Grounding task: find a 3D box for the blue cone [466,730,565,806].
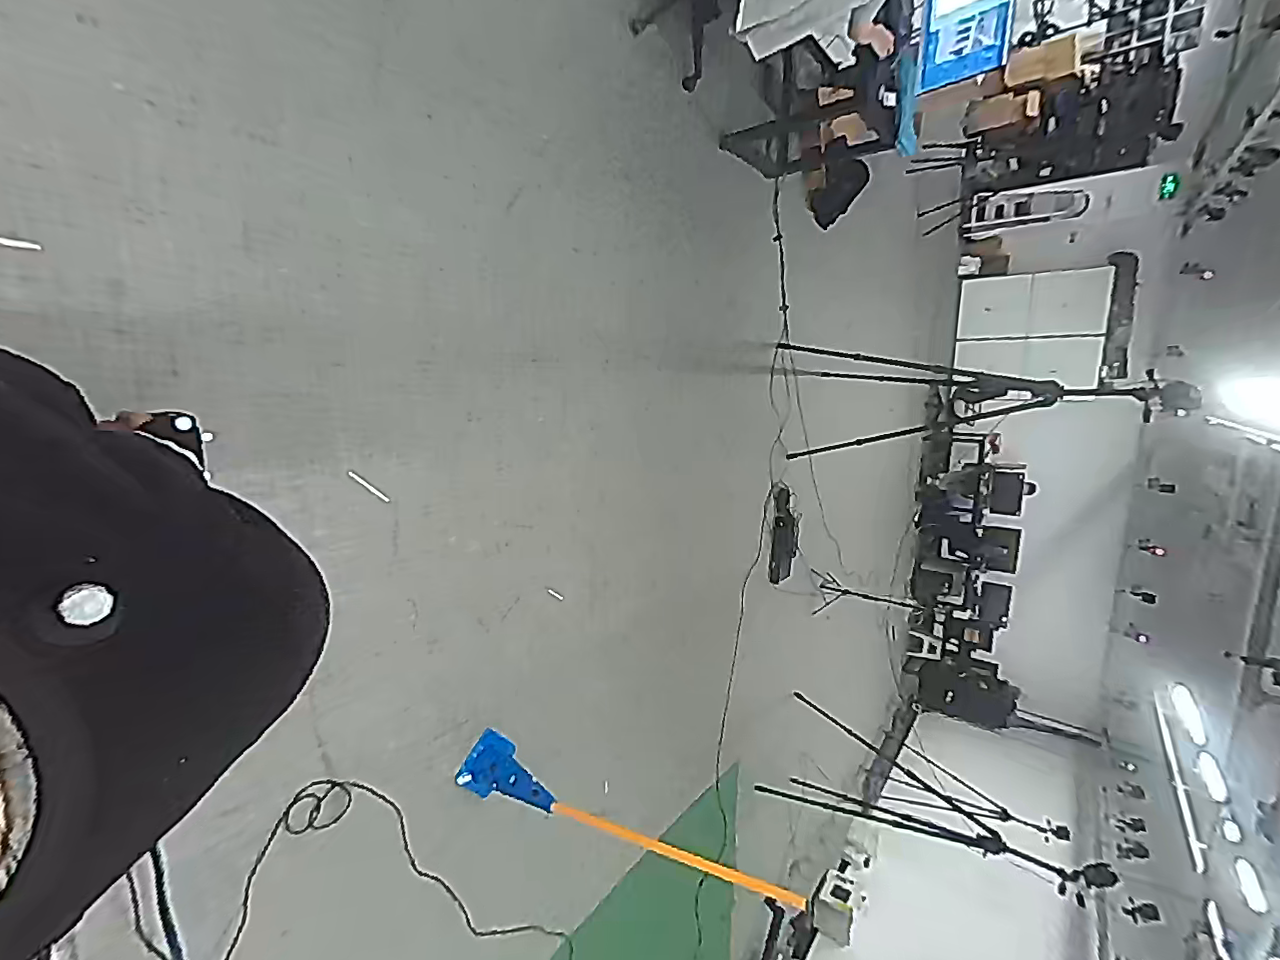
[{"bbox_3d":[-0.410,1.040,1.886,0.193,0.380,0.192,-61,137,-29],"label":"blue cone"}]
